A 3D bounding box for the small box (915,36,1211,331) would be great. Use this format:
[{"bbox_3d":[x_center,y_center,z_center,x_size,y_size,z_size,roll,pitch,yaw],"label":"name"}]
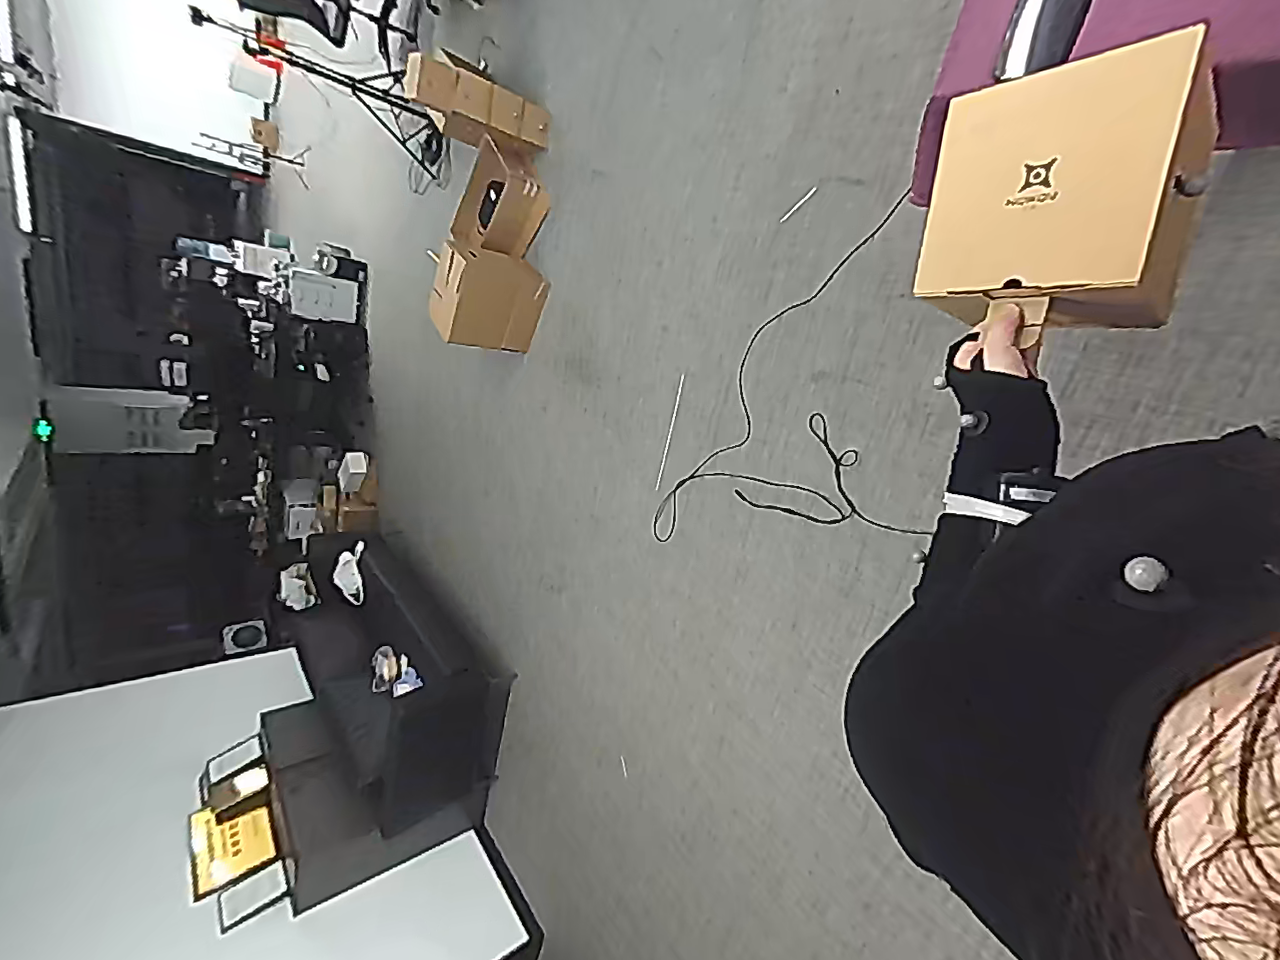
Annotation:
[{"bbox_3d":[0.386,-0.243,0.499,0.168,0.176,0.179,17,104,46],"label":"small box"}]
